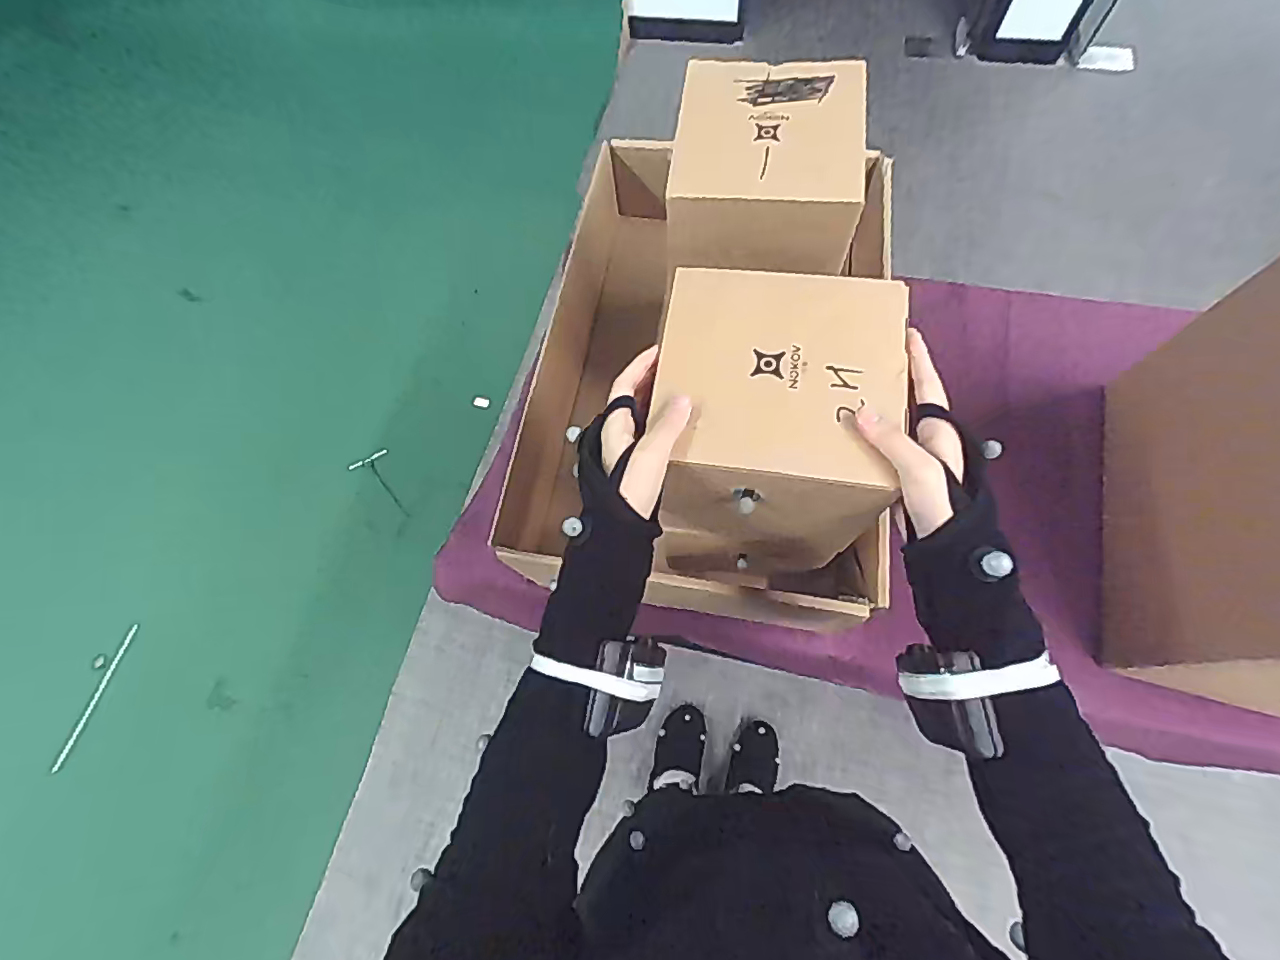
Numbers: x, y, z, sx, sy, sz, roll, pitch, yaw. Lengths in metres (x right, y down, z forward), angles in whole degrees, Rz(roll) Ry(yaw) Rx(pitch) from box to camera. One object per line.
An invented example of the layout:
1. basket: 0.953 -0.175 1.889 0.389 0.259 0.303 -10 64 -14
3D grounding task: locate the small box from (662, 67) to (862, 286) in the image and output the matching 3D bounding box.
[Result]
1. small box: 0.118 -0.278 0.554 0.168 0.176 0.179 6 70 8

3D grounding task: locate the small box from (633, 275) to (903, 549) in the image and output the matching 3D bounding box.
1. small box: 0.102 -0.046 0.459 0.179 0.176 0.168 8 71 9
